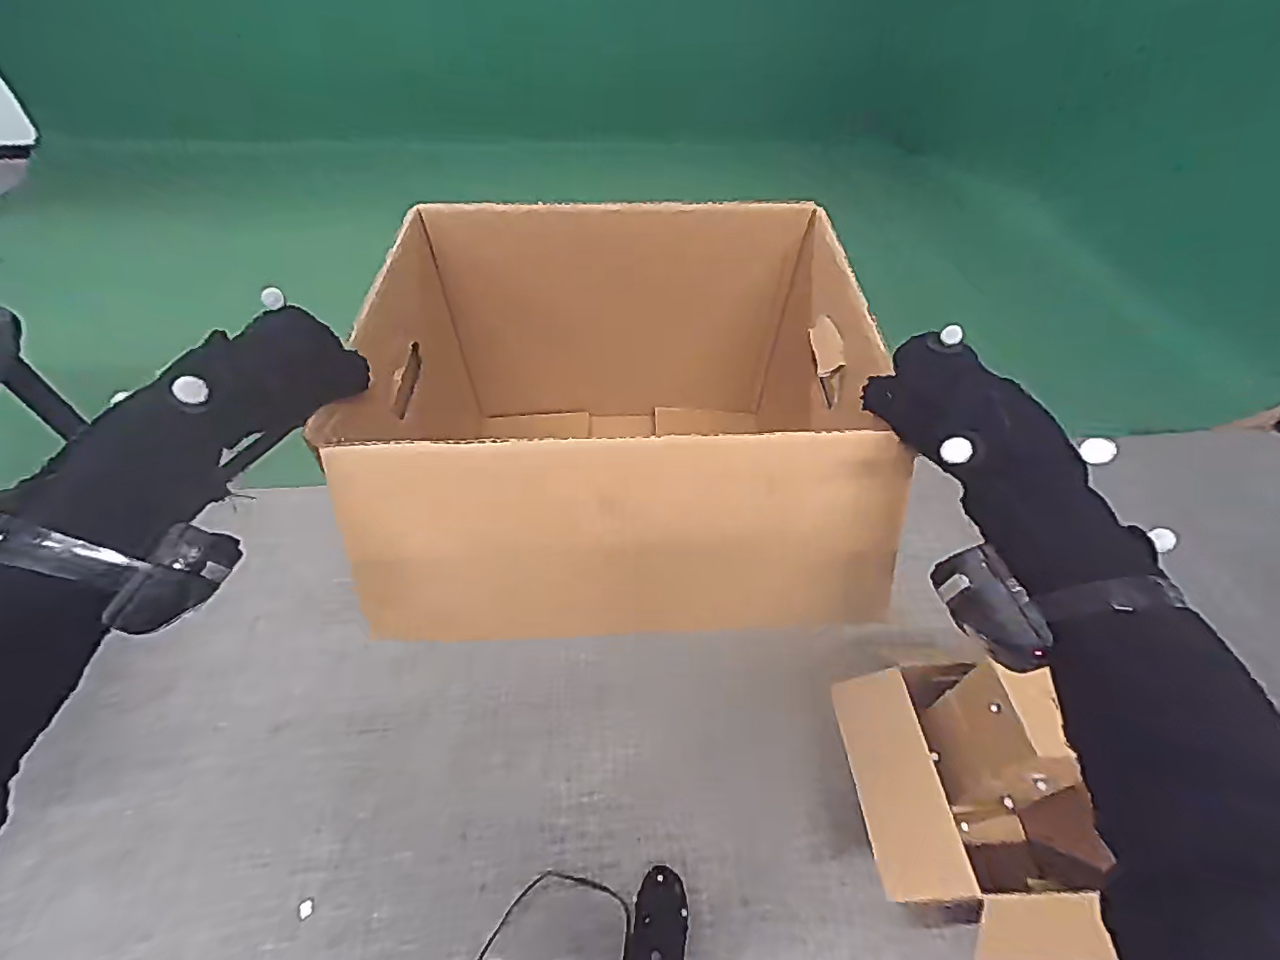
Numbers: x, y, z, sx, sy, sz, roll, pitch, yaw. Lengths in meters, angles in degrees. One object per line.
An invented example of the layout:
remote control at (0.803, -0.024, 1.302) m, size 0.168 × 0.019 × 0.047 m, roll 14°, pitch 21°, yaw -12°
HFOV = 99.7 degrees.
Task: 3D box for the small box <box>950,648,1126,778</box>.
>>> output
small box at (0.715, 0.431, 1.001) m, size 0.168 × 0.176 × 0.179 m, roll -2°, pitch 47°, yaw -2°
